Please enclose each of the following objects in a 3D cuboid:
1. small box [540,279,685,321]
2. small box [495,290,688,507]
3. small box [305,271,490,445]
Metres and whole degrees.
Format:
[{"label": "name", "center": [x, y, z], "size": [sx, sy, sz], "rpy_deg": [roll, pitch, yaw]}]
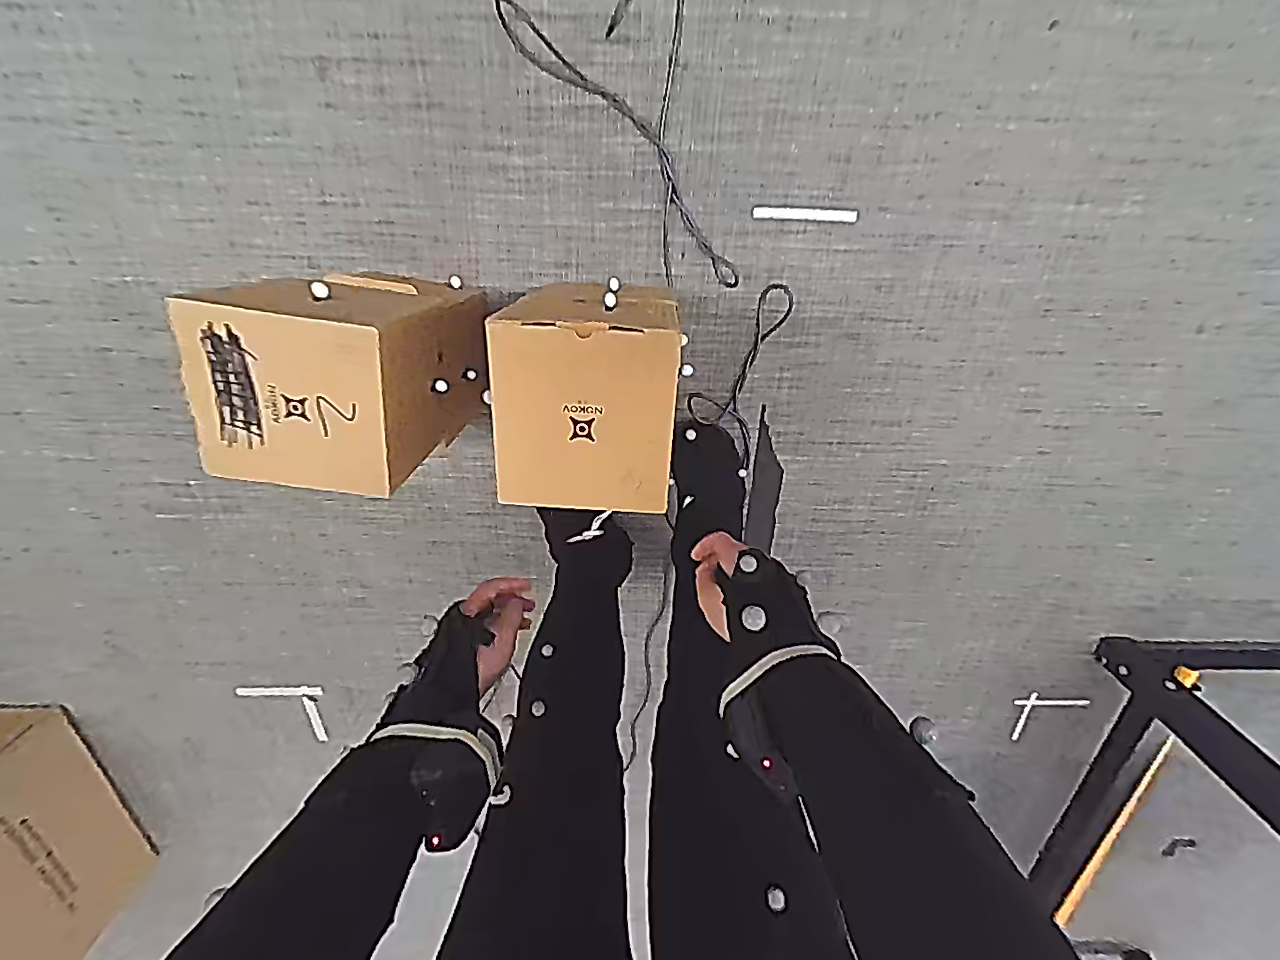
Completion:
[{"label": "small box", "center": [-0.035, -0.160, 0.703], "size": [0.168, 0.176, 0.179], "rpy_deg": [4, 116, 1]}, {"label": "small box", "center": [-0.042, -0.091, 0.556], "size": [0.168, 0.176, 0.179], "rpy_deg": [3, 114, 0]}, {"label": "small box", "center": [-0.300, -0.166, 0.704], "size": [0.168, 0.176, 0.179], "rpy_deg": [8, 117, -3]}]
